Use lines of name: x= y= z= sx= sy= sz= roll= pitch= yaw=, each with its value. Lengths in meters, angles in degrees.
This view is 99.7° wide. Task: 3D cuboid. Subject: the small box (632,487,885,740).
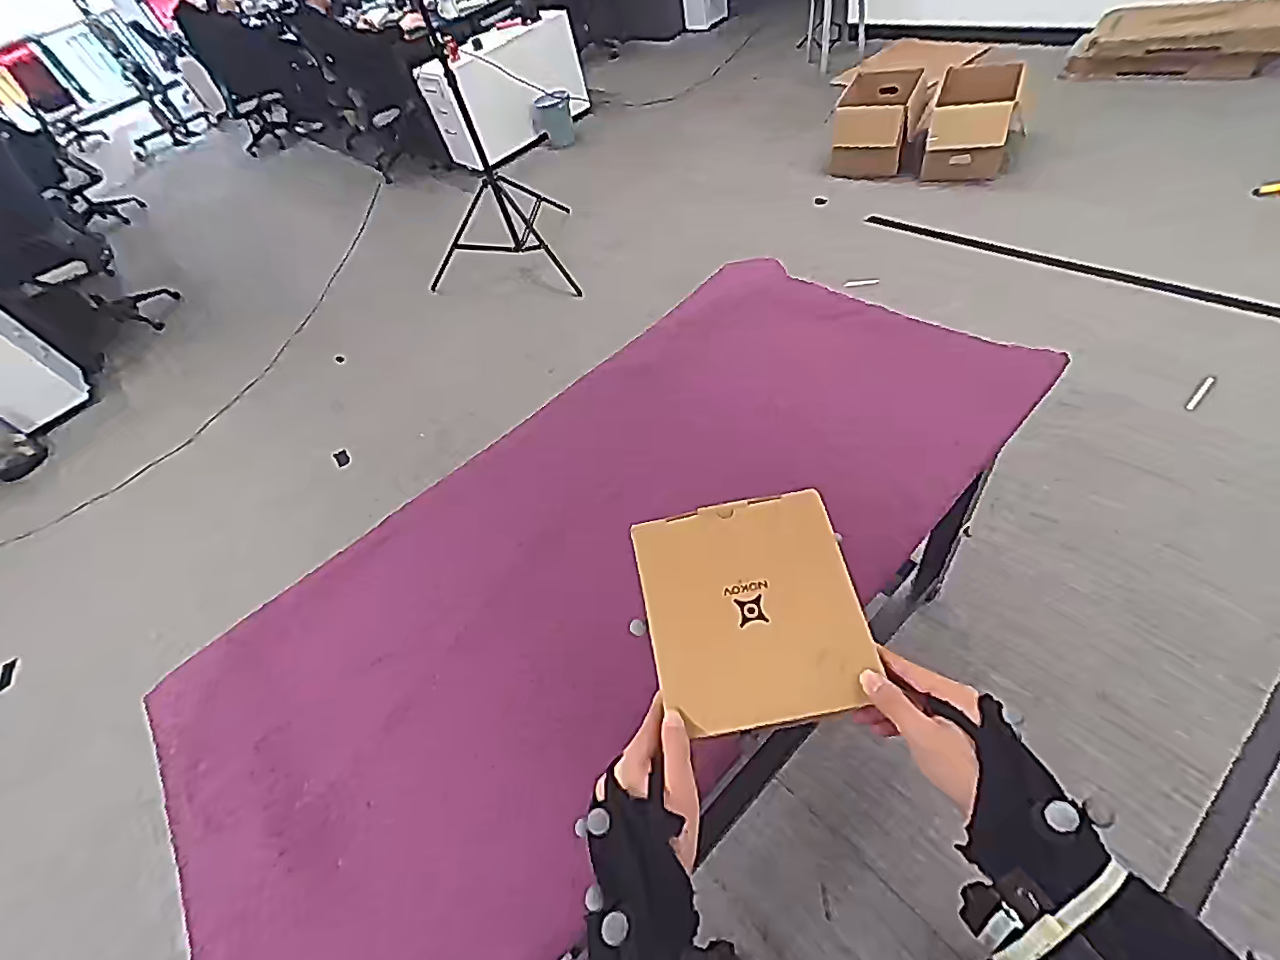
small box: x=0.096 y=0.132 z=0.498 sx=0.168 sy=0.176 sz=0.179 roll=-12 pitch=61 yaw=2
